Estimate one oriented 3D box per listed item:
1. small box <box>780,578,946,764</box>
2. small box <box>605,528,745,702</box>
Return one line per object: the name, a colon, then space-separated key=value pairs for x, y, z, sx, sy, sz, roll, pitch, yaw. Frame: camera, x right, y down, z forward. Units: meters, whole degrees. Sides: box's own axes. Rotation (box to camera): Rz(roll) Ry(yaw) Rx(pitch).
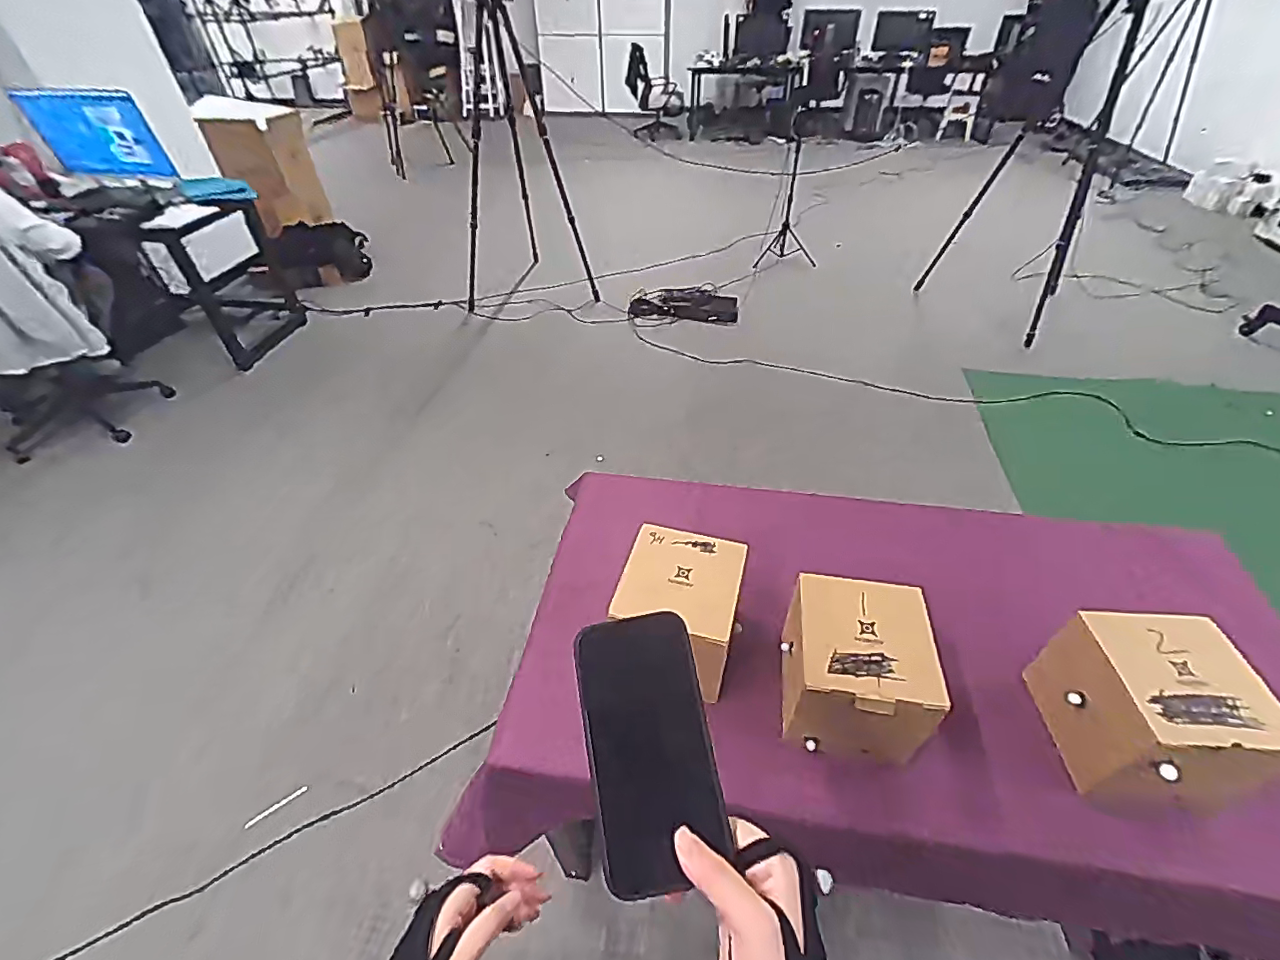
small box: x=0.290 y=0.263 z=0.745 sx=0.168 sy=0.176 sz=0.179 roll=6 pitch=42 yaw=8
small box: x=0.057 y=0.205 z=0.816 sx=0.168 sy=0.176 sz=0.179 roll=11 pitch=44 yaw=13
